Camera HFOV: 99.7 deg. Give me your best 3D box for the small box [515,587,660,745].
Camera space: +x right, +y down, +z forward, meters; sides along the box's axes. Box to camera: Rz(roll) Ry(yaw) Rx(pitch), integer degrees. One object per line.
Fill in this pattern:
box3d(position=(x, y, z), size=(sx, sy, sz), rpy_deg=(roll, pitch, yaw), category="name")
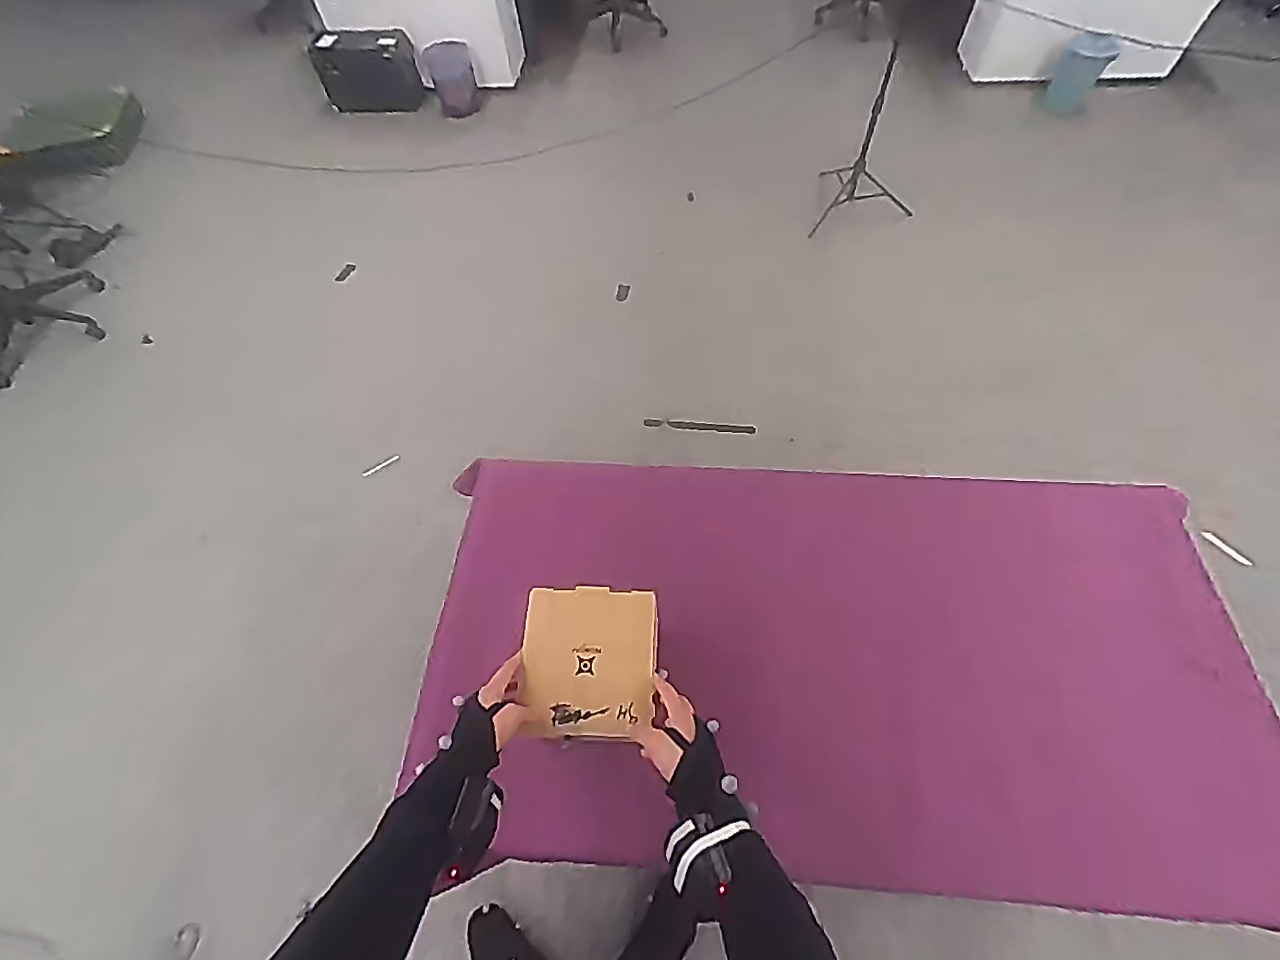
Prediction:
box3d(position=(-0.058, 0.258, 0.740), size=(0.168, 0.176, 0.179), rpy_deg=(1, 62, 4), category="small box")
